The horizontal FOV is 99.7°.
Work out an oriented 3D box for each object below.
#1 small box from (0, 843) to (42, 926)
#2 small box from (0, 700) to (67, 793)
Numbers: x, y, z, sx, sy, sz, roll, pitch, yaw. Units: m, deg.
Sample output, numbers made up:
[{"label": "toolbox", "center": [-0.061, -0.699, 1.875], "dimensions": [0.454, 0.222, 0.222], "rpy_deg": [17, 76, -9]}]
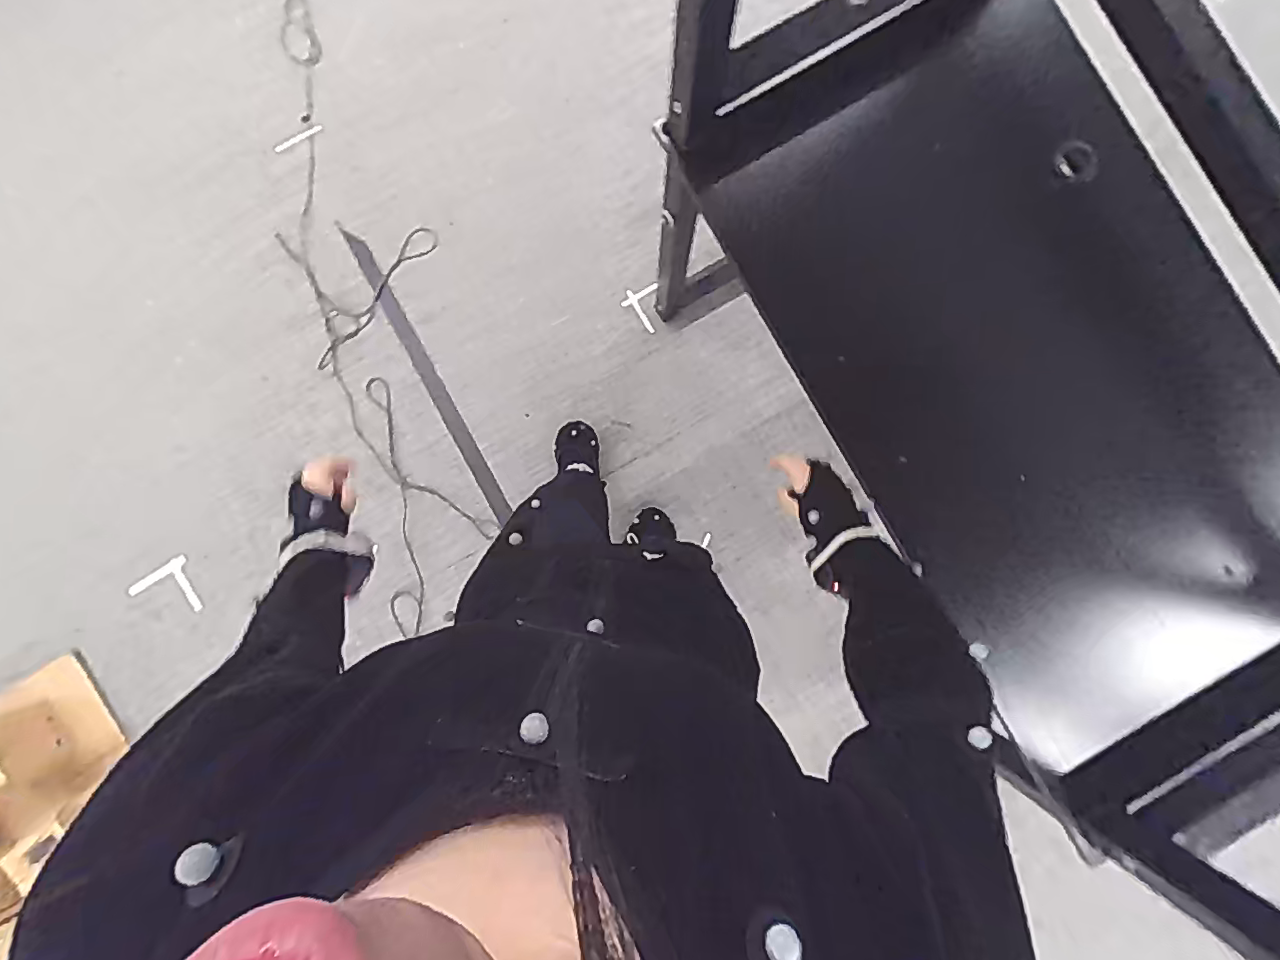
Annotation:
[{"label": "small box", "center": [-1.682, 1.067, 1.349], "dimensions": [0.168, 0.176, 0.179], "rpy_deg": [-36, 89, -2]}, {"label": "small box", "center": [-1.623, 0.692, 1.364], "dimensions": [0.179, 0.176, 0.168], "rpy_deg": [-35, 88, -1]}]
